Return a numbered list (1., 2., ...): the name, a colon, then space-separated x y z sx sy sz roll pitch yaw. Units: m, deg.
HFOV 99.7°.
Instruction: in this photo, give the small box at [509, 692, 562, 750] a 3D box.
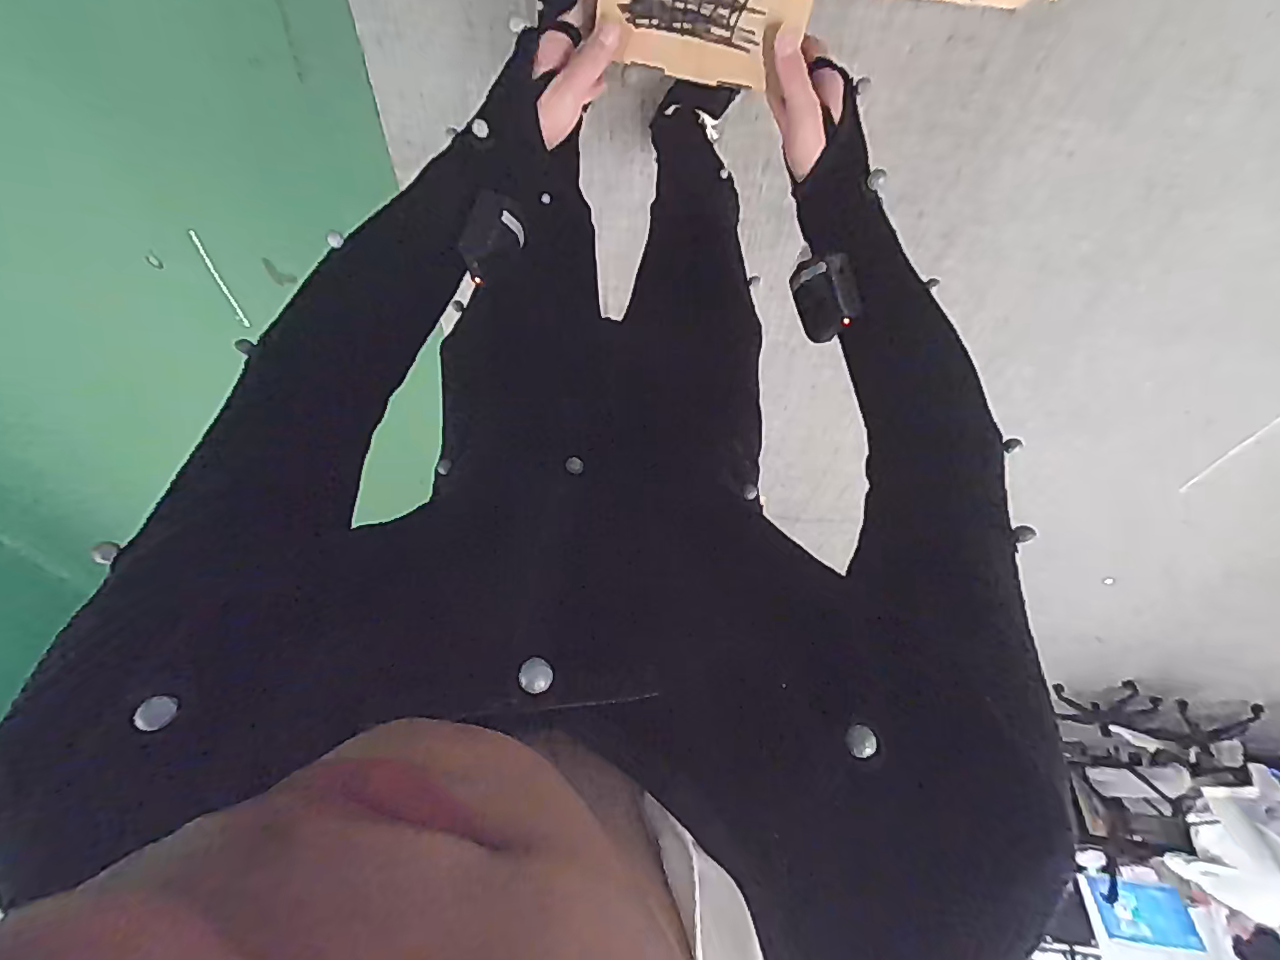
1. small box: -0.399 0.936 2.101 0.179 0.176 0.168 8 142 0
